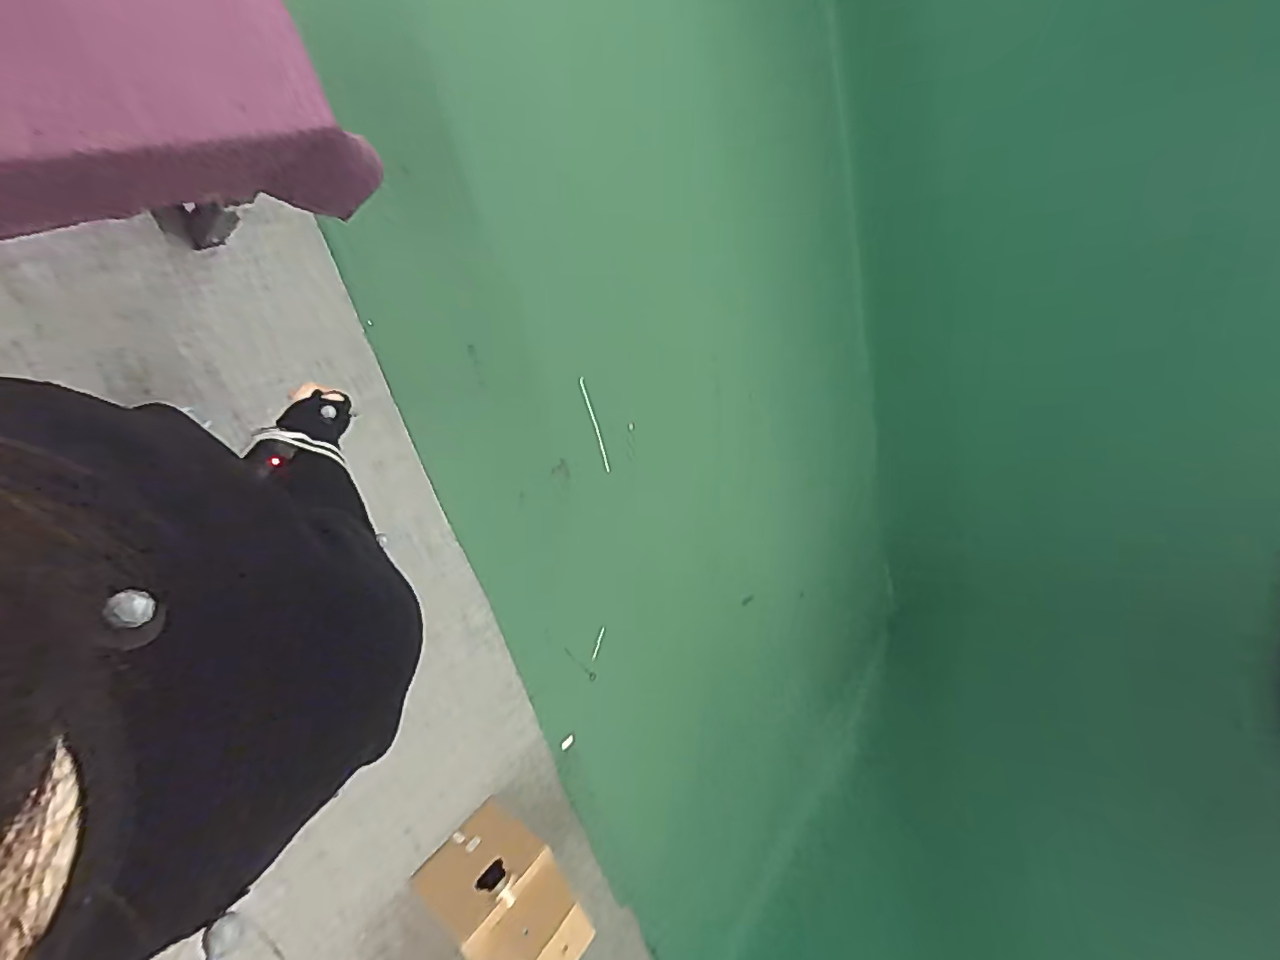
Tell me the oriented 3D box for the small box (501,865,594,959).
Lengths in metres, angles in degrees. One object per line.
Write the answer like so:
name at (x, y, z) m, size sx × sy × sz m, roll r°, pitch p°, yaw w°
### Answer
small box at (-0.265, 1.246, 1.517) m, size 0.179 × 0.176 × 0.168 m, roll -39°, pitch 122°, yaw -39°

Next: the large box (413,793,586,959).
large box at (-0.435, 1.298, 1.701) m, size 0.320 × 0.320 × 0.408 m, roll -36°, pitch 120°, yaw -38°
